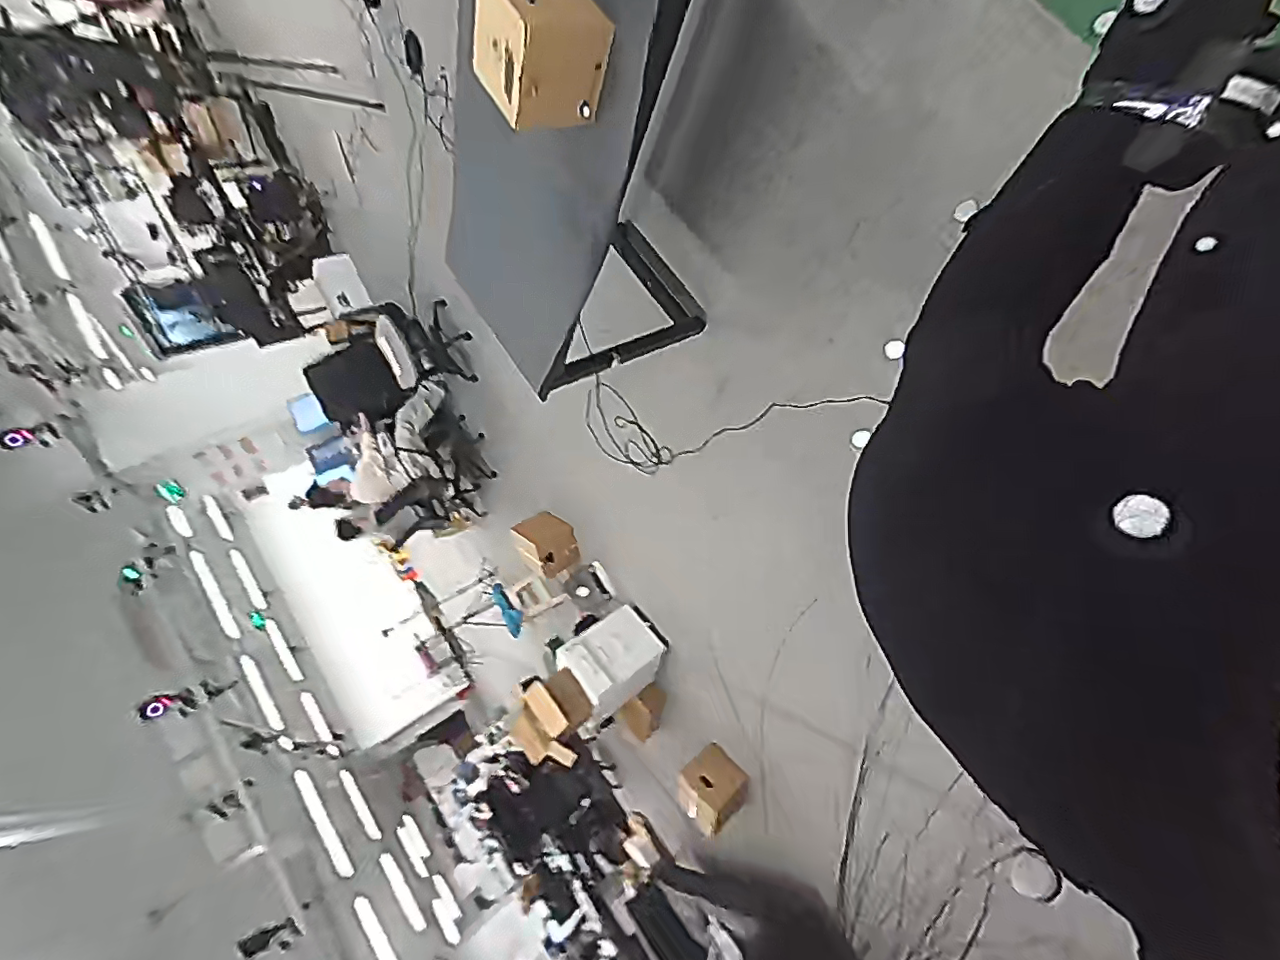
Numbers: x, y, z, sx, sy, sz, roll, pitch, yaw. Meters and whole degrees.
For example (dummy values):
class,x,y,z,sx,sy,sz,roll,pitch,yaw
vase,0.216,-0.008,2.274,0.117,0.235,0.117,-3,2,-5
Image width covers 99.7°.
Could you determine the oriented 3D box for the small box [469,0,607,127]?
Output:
class,x,y,z,sx,sy,sz,roll,pitch,yaw
small box,-0.180,-0.762,0.948,0.179,0.176,0.168,57,150,13
